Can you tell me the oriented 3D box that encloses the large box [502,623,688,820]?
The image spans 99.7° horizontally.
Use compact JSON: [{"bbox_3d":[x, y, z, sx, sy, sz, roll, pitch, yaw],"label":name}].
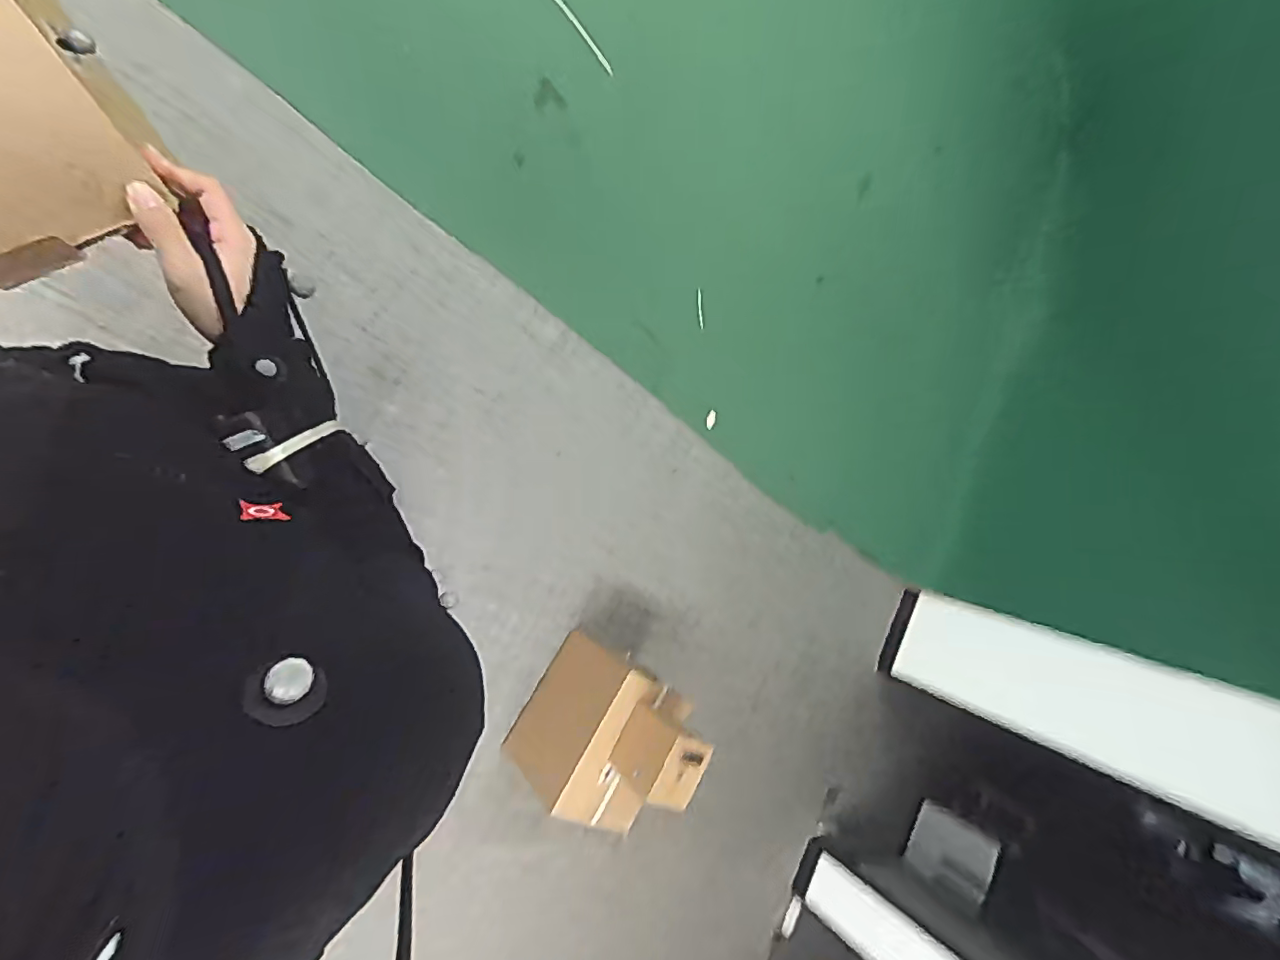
[{"bbox_3d":[-0.134,0.706,1.612,0.320,0.320,0.408,40,76,-36],"label":"large box"}]
